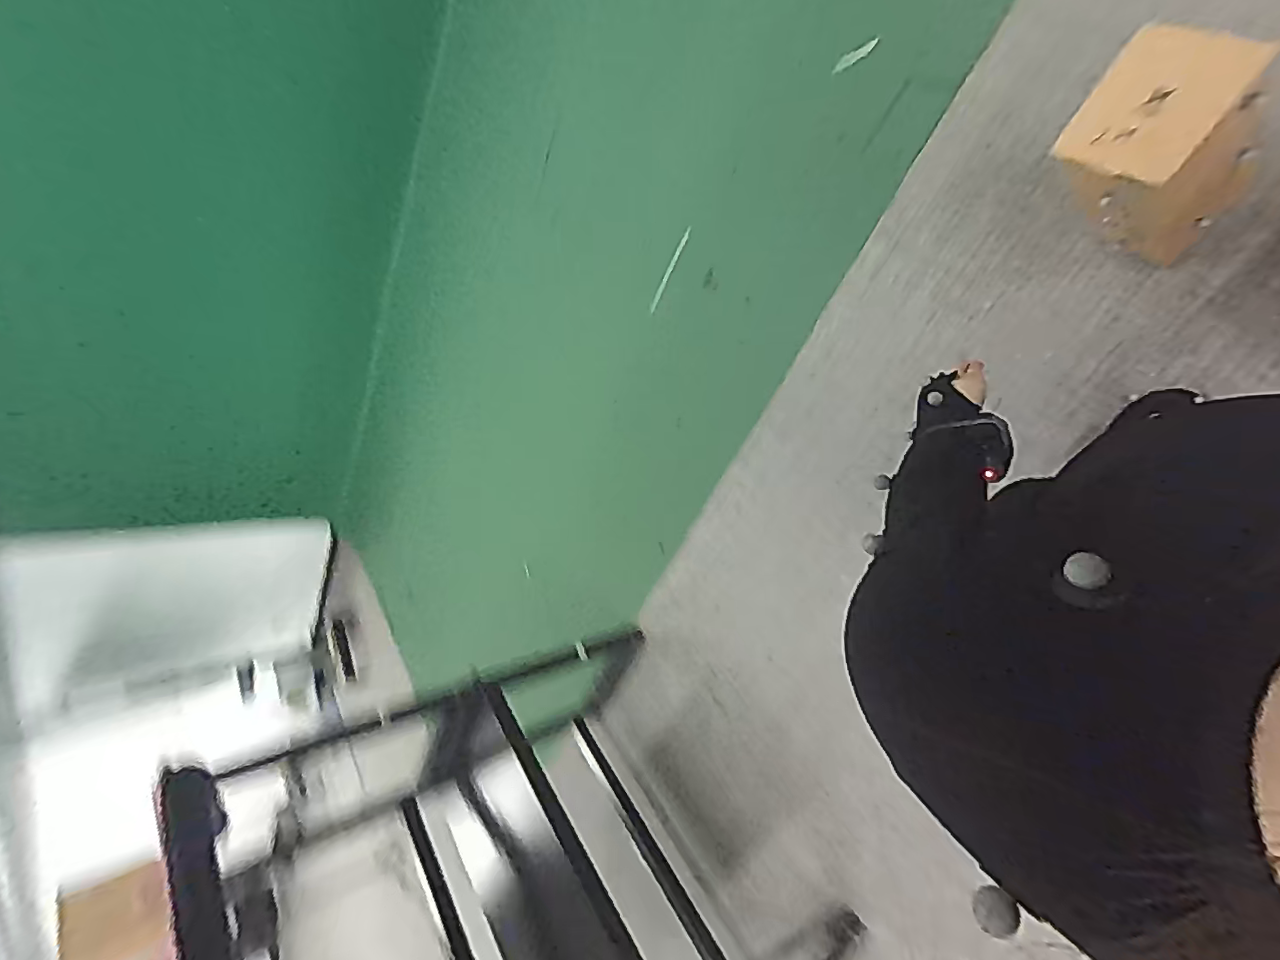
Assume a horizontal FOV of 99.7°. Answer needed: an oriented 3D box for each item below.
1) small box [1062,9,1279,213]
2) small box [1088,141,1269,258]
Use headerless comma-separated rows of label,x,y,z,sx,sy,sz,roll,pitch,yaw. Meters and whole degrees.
small box,0.776,-0.529,0.792,0.168,0.176,0.179,50,125,33
small box,1.010,-0.548,1.021,0.168,0.176,0.179,52,127,30
